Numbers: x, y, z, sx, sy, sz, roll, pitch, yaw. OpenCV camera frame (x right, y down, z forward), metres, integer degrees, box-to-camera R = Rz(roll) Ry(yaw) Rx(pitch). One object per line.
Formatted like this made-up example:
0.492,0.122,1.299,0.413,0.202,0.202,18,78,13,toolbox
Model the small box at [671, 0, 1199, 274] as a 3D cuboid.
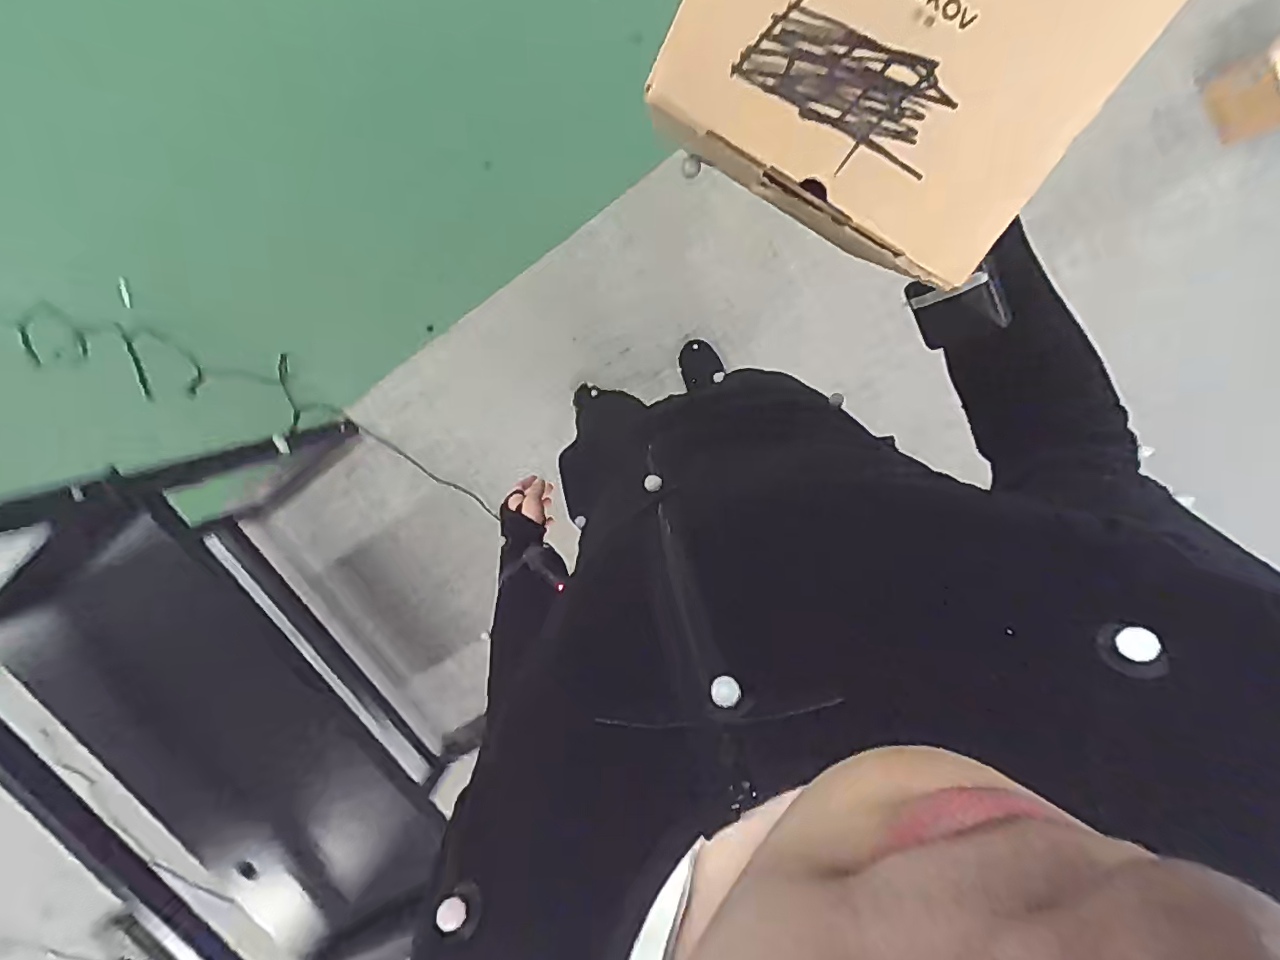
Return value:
0.130,-0.233,0.272,0.168,0.176,0.179,27,115,-10,small box
